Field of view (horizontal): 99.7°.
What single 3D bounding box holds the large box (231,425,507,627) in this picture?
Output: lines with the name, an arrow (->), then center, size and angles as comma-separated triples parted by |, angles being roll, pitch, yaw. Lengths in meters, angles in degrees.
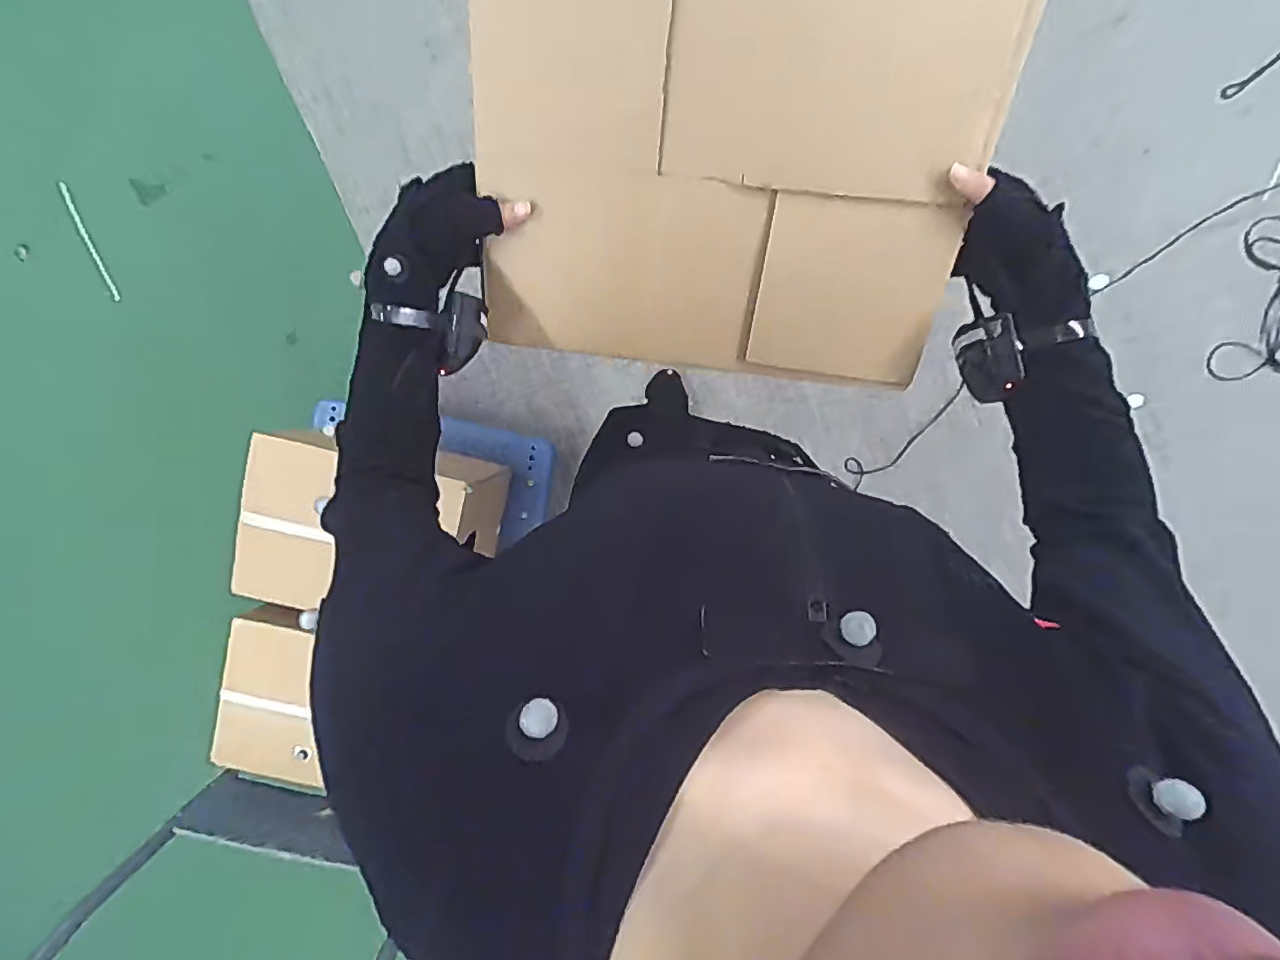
large box -> -0.537, 0.073, 1.140 | 0.408, 0.320, 0.320 | 13, 97, -1
